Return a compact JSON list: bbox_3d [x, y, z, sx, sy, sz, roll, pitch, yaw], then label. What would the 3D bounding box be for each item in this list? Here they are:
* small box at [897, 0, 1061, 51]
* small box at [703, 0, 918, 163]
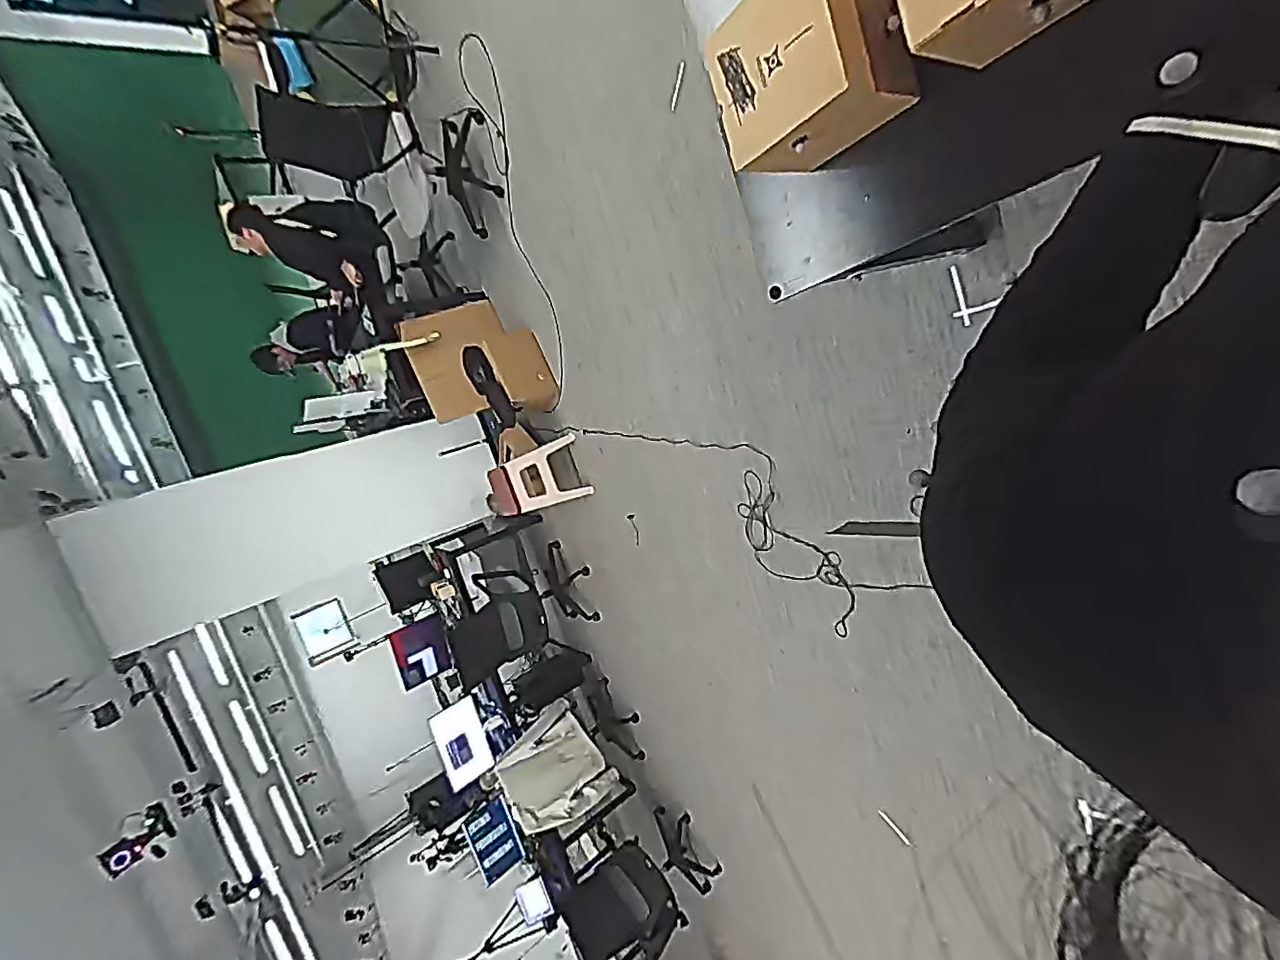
[{"bbox_3d":[0.347,-0.538,0.497,0.168,0.176,0.179,-5,105,56],"label":"small box"},{"bbox_3d":[0.215,-0.530,0.688,0.179,0.176,0.168,-7,104,55],"label":"small box"}]
